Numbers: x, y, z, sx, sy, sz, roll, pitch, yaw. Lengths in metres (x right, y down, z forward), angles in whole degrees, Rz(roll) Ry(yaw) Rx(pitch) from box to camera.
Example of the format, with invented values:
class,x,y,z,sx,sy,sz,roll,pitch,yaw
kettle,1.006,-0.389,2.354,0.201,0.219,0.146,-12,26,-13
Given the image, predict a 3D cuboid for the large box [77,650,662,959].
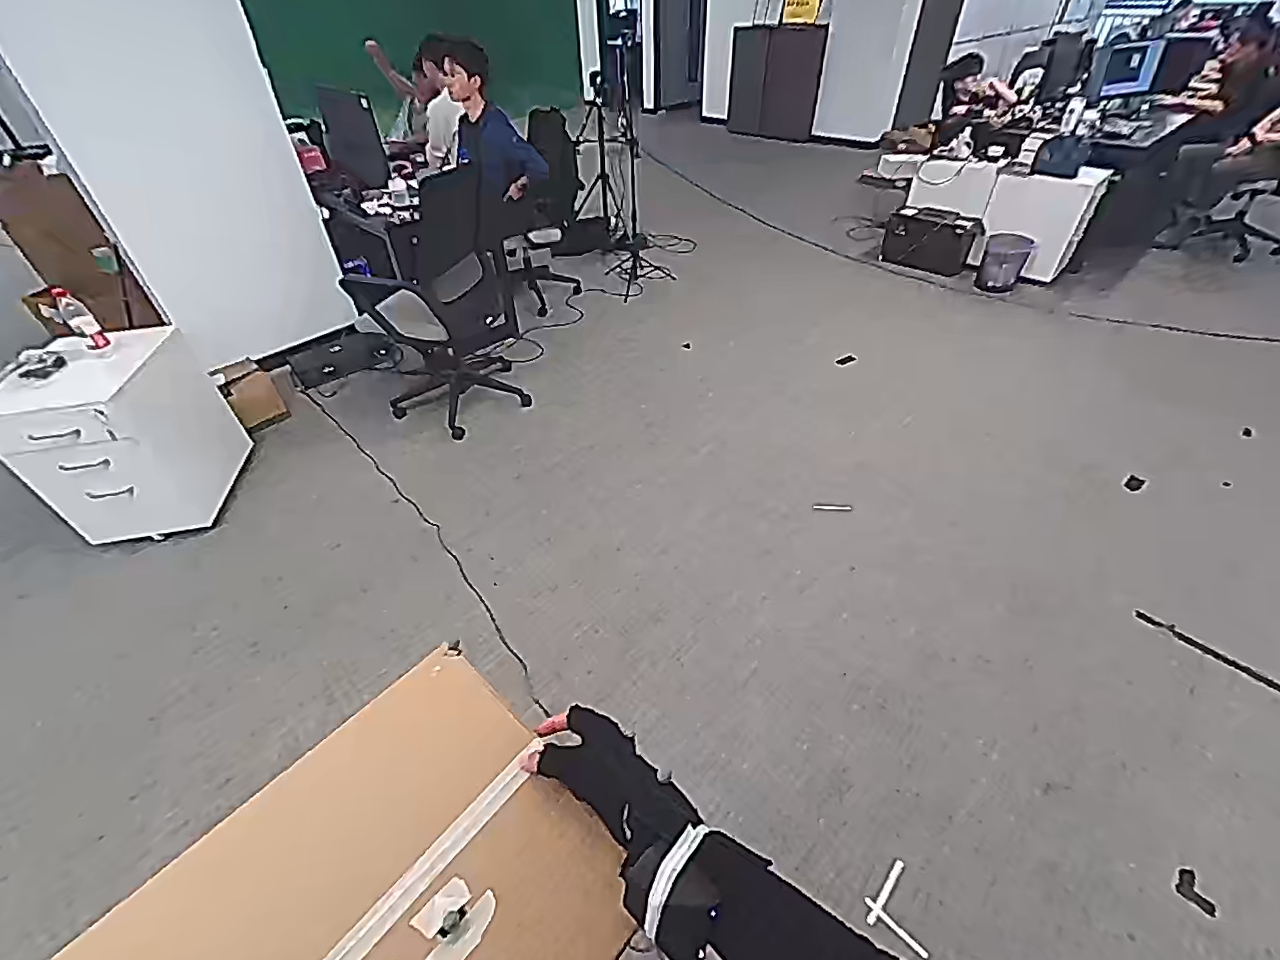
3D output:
class,x,y,z,sx,sy,sz,roll,pitch,yaw
large box,-0.231,0.471,0.542,0.320,0.320,0.408,36,53,24
